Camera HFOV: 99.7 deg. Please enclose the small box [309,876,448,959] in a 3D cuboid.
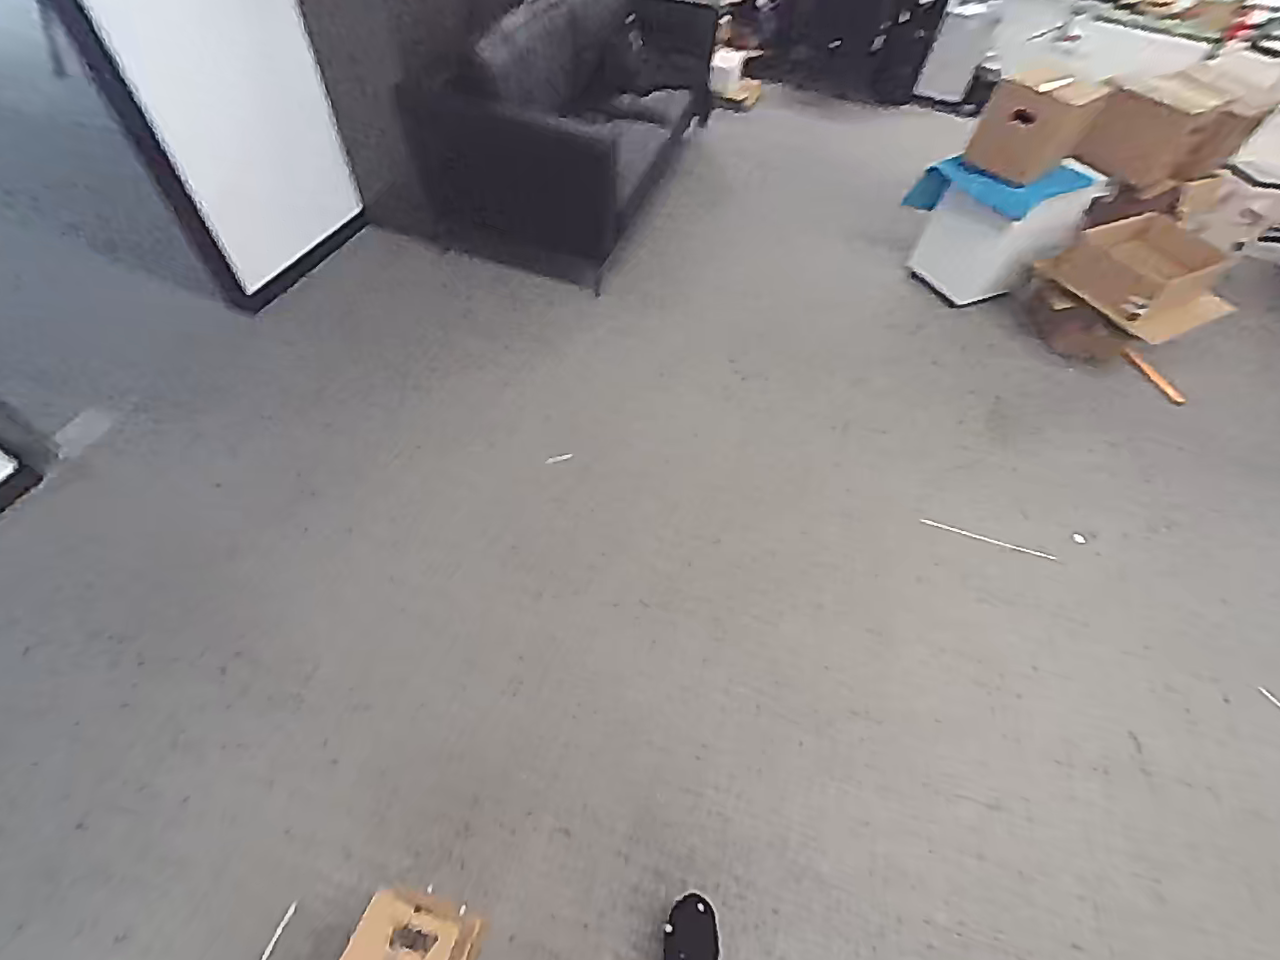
[{"bbox_3d":[-0.456,0.826,0.943,0.168,0.176,0.179,21,55,9],"label":"small box"}]
